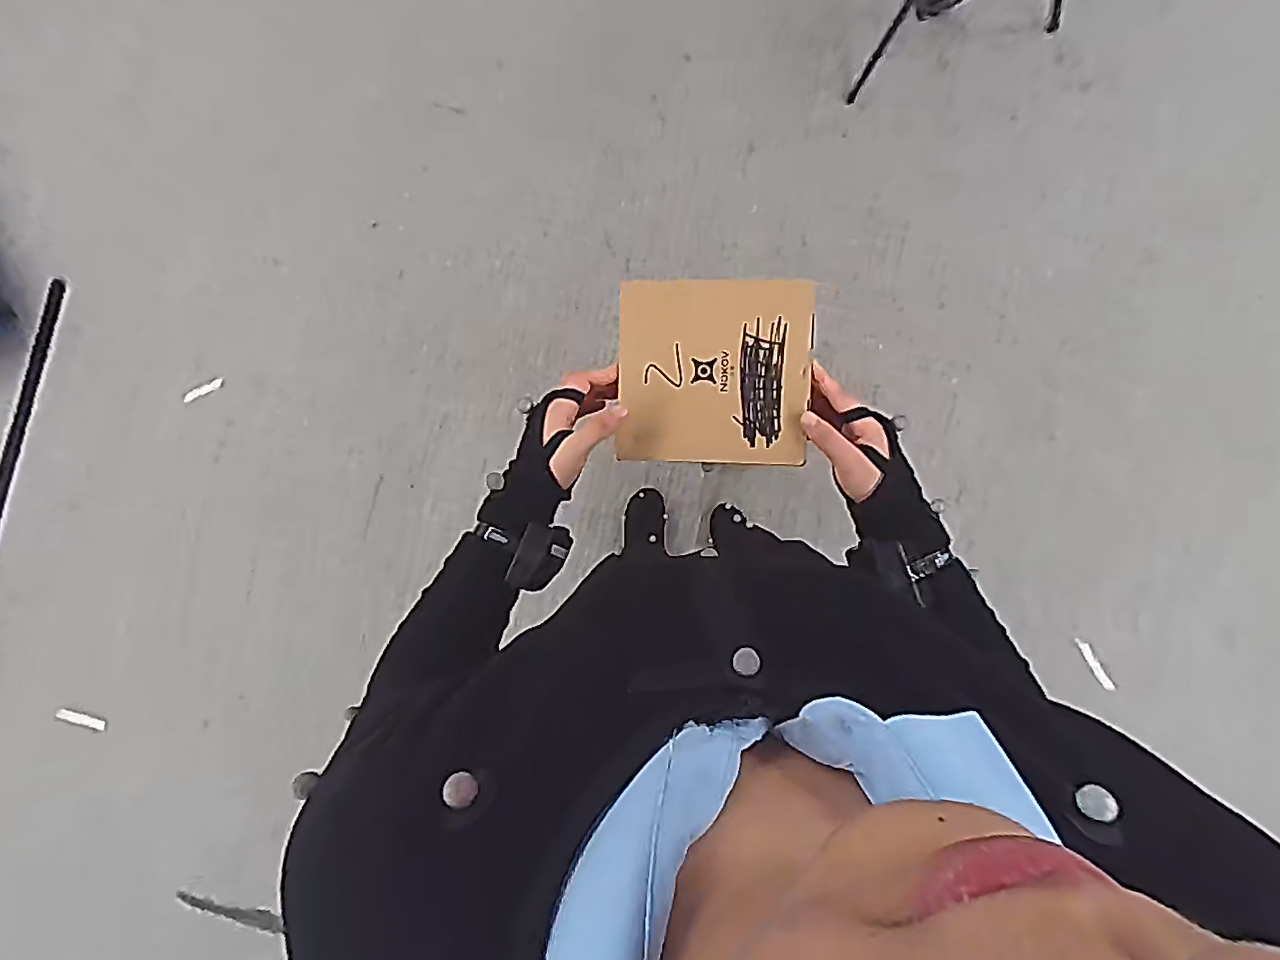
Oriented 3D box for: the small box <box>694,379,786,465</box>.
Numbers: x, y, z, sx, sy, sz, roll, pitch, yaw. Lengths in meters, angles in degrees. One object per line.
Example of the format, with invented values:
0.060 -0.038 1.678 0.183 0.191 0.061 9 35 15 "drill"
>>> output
0.225 -0.128 1.260 0.179 0.176 0.168 8 89 4 "small box"
